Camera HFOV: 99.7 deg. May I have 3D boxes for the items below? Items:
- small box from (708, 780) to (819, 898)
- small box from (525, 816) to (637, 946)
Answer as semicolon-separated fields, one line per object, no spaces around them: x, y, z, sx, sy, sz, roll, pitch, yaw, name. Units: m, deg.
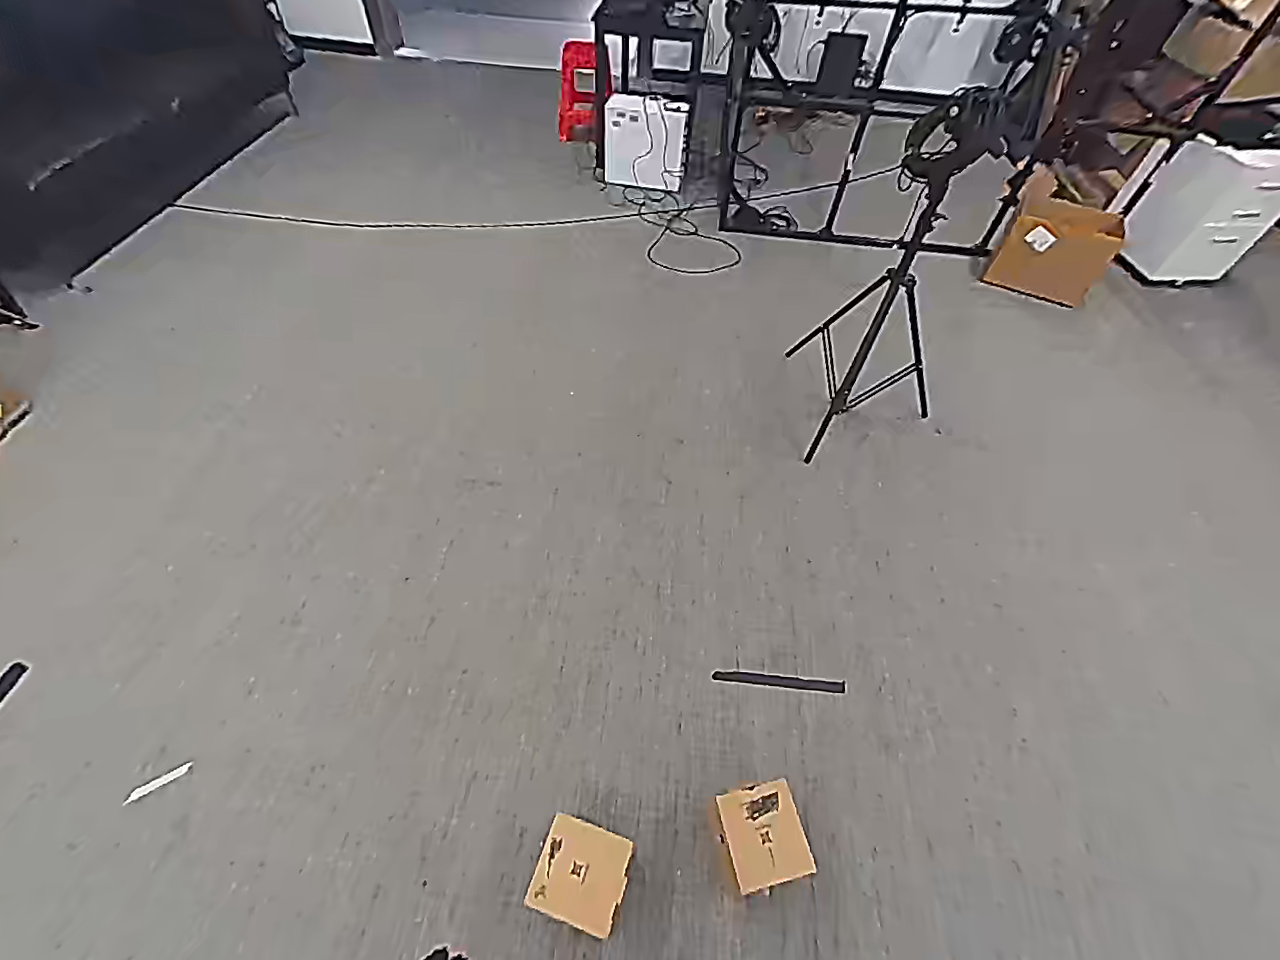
0.258;0.783;1.178;0.168;0.176;0.179;-9;53;-10;small box
-0.117;0.828;1.125;0.179;0.176;0.168;16;52;10;small box
